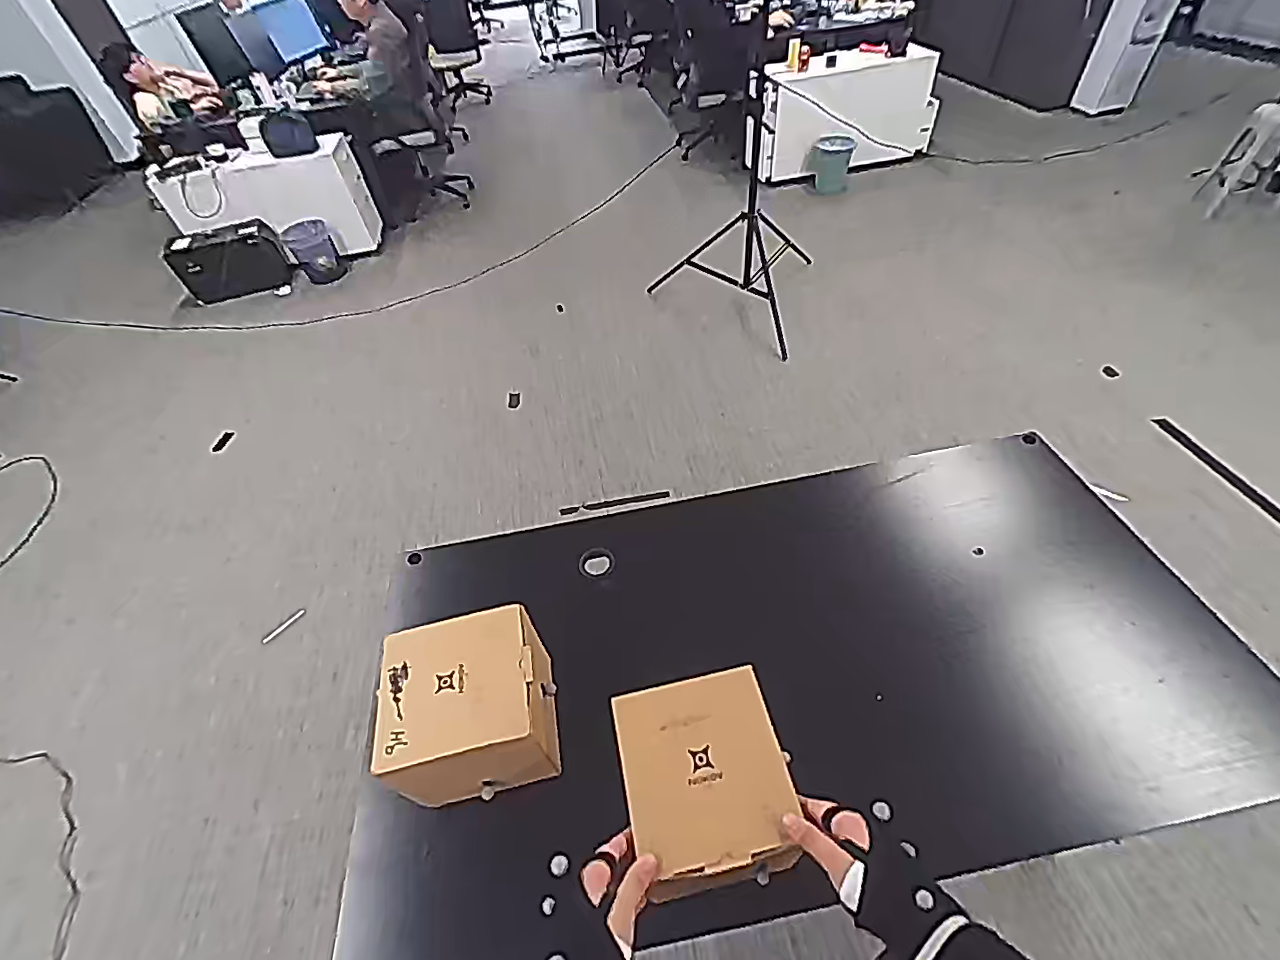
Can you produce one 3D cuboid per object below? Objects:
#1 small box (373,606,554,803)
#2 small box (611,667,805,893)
[{"bbox_3d":[-0.210,0.289,0.692,0.179,0.176,0.168,-11,48,-5],"label":"small box"},{"bbox_3d":[0.069,0.344,0.614,0.168,0.176,0.179,-11,47,-5],"label":"small box"}]
